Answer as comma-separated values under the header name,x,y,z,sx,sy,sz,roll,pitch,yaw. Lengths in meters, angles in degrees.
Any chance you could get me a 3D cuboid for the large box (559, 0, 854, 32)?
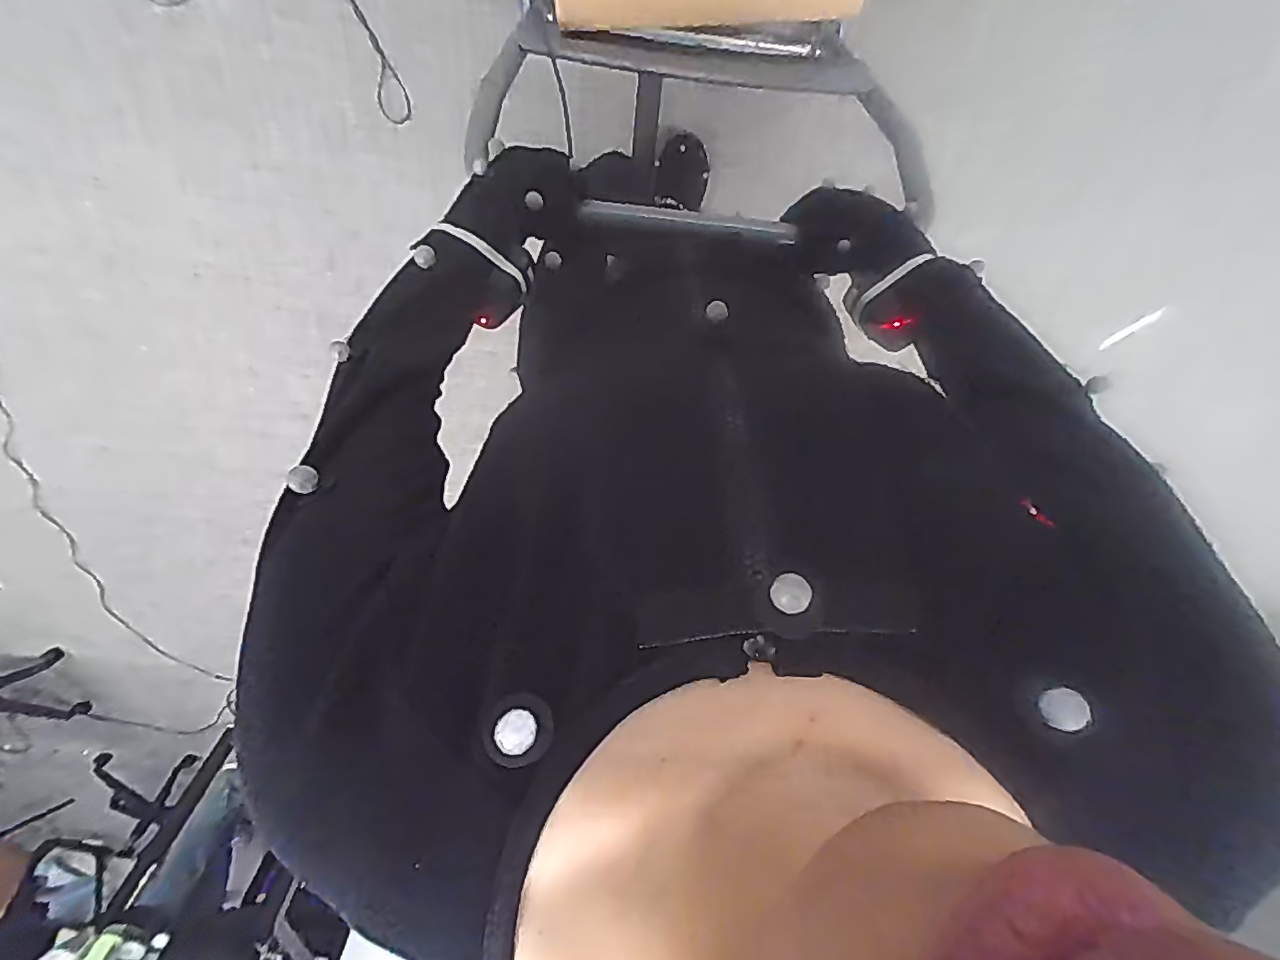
name,x,y,z,sx,sy,sz,roll,pitch,yaw
large box,0.080,-0.837,0.723,0.408,0.320,0.320,-2,138,1
